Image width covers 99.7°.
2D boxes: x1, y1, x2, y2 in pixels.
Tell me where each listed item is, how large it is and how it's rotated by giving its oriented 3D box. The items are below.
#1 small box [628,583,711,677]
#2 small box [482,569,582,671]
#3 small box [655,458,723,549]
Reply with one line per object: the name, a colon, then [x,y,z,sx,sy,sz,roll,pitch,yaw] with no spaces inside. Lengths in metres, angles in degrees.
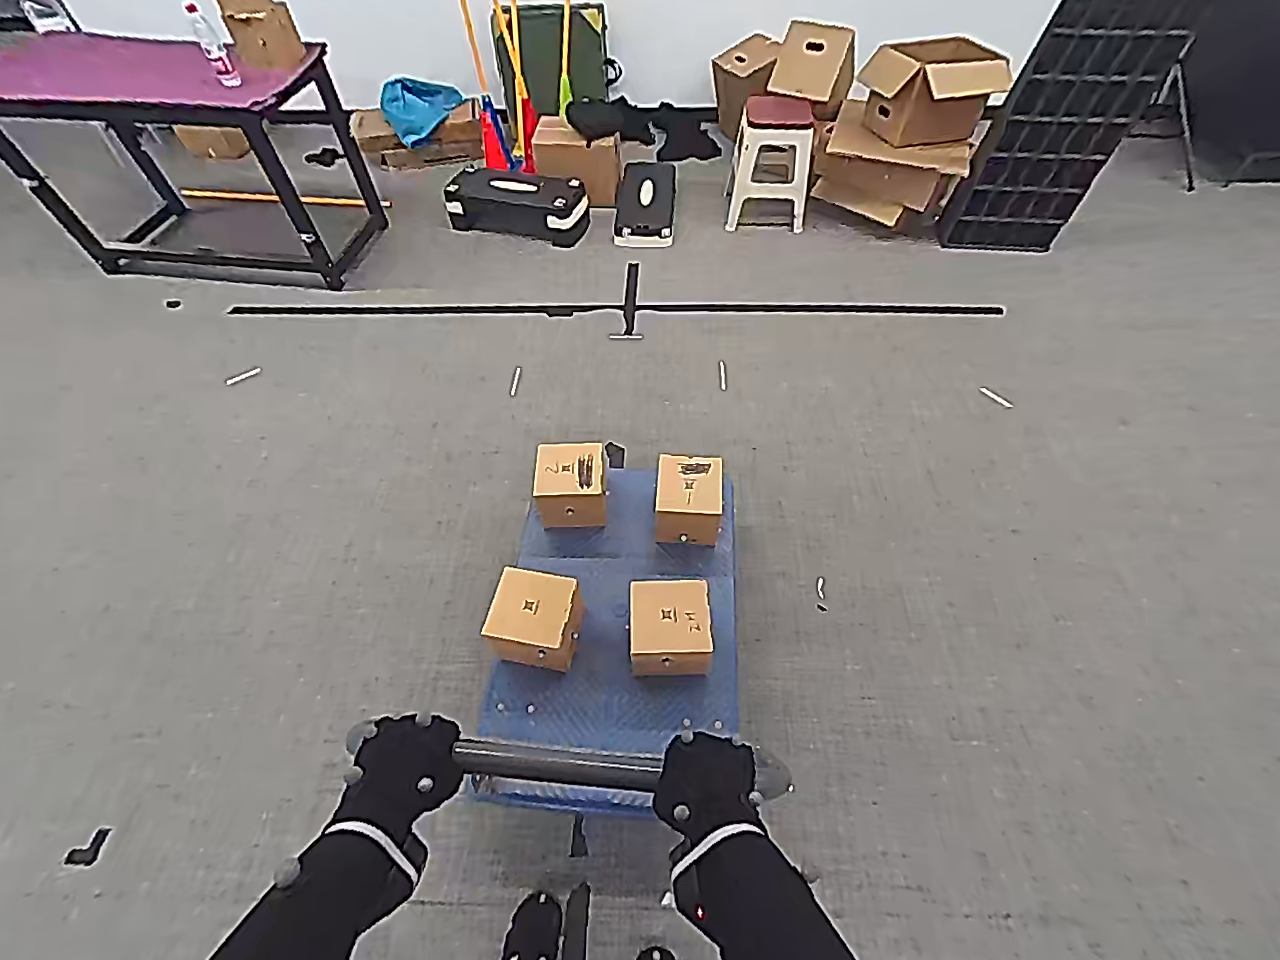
small box: [0.065,0.348,1.244,0.179,0.176,0.168,0,55,0]
small box: [-0.241,0.329,1.260,0.179,0.176,0.168,10,55,5]
small box: [0.128,0.063,1.441,0.168,0.176,0.179,4,56,3]
